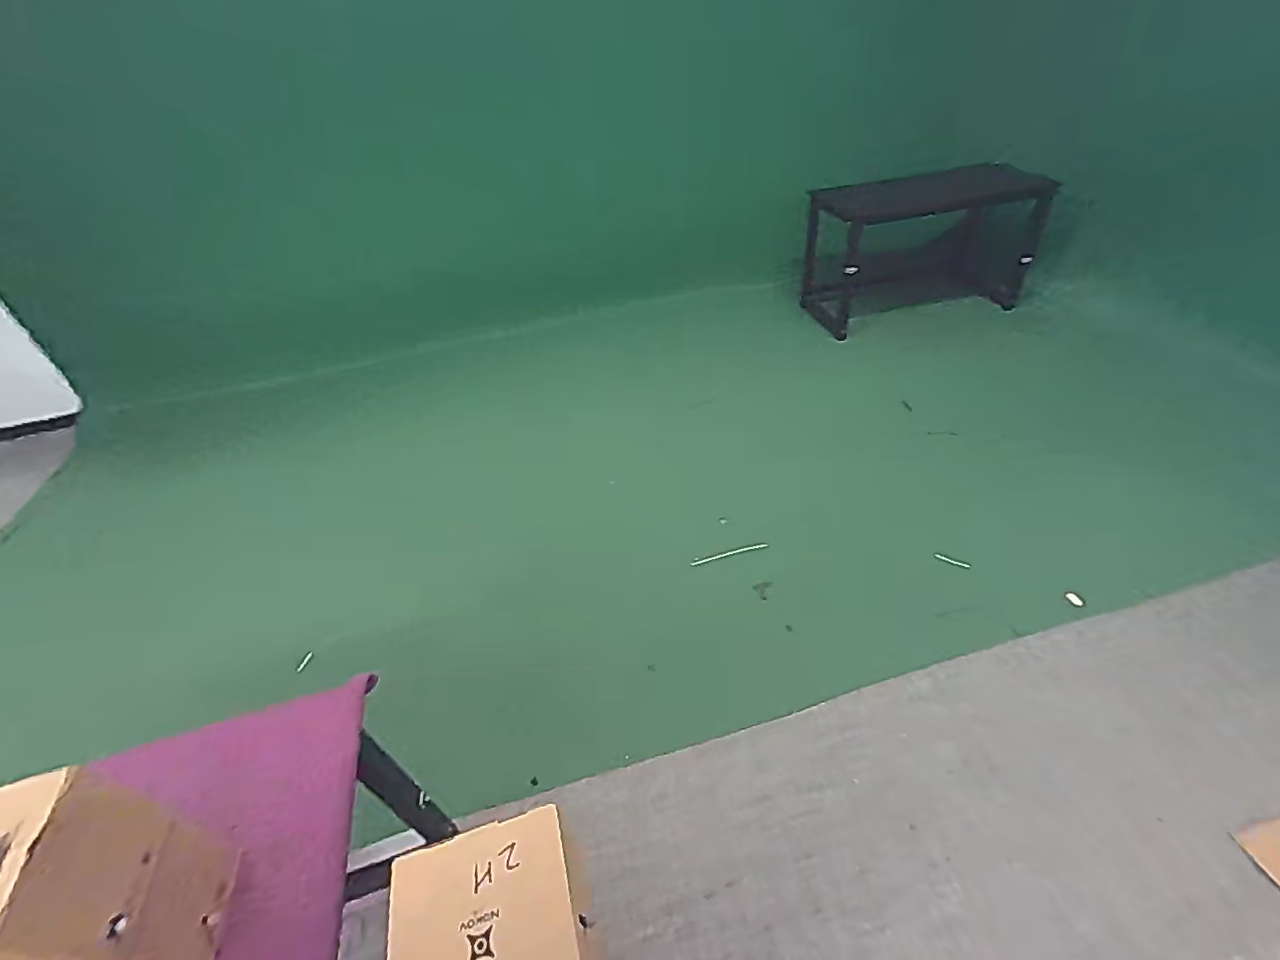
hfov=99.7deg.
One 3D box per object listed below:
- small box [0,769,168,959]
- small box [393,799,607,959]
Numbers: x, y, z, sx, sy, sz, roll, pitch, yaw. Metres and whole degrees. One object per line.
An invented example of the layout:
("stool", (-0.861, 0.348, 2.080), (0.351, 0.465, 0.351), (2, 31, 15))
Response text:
("small box", (-0.693, 0.458, 0.602), (0.179, 0.176, 0.168), (-16, 43, -6))
("small box", (-0.127, 0.456, 0.529), (0.168, 0.176, 0.179), (-14, 40, -8))
